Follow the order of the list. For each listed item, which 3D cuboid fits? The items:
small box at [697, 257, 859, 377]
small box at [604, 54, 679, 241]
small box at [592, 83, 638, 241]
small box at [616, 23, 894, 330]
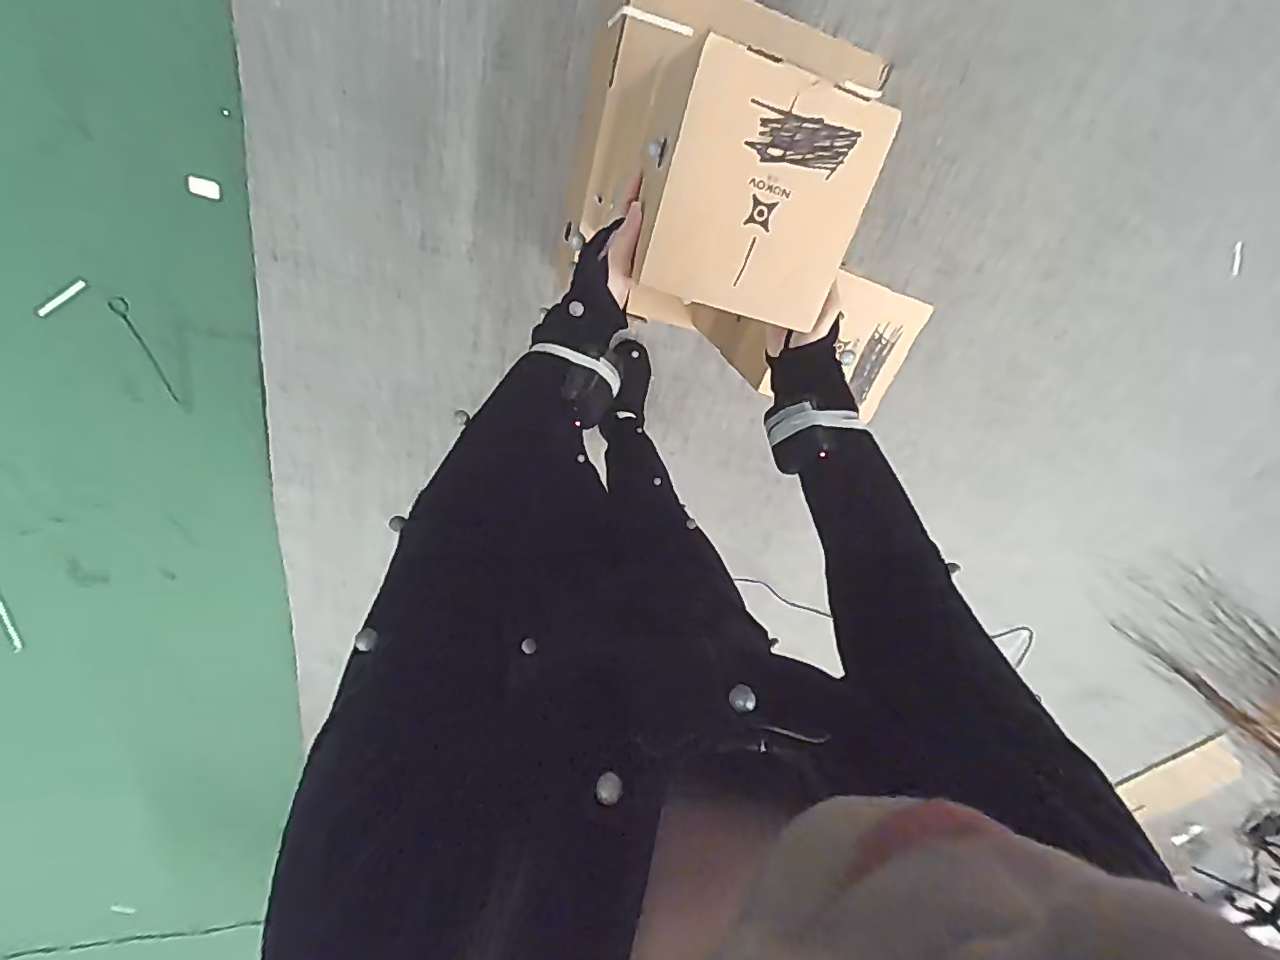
[{"bbox_3d":[0.208,-0.290,0.874,0.168,0.176,0.179,12,114,-16],"label":"small box"},{"bbox_3d":[0.059,-0.349,0.631,0.168,0.176,0.179,9,116,-15],"label":"small box"},{"bbox_3d":[0.030,-0.424,0.773,0.168,0.176,0.179,11,115,-15],"label":"small box"},{"bbox_3d":[0.082,-0.261,0.494,0.168,0.176,0.179,11,117,-15],"label":"small box"}]
